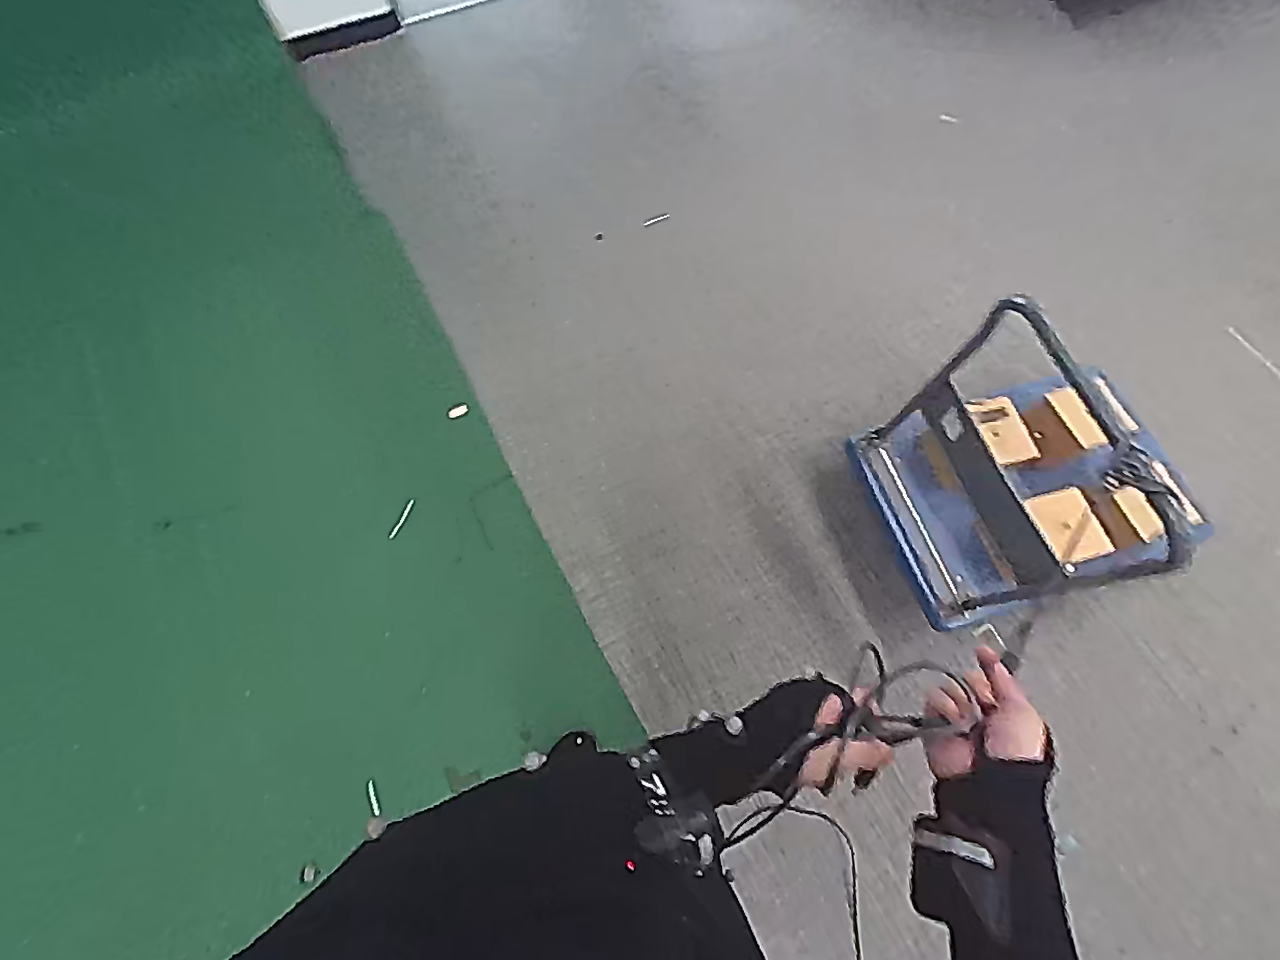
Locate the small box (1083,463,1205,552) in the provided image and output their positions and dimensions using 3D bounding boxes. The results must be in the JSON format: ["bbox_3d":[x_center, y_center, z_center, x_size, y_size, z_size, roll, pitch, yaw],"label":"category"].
[{"bbox_3d":[1.246,0.080,1.382,0.179,0.176,0.168,-17,70,-7],"label":"small box"}]

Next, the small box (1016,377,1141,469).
[{"bbox_3d":[1.171,-0.148,1.468,0.179,0.176,0.168,-19,72,-9],"label":"small box"}]

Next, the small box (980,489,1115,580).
[{"bbox_3d":[1.007,0.141,1.354,0.179,0.176,0.168,-14,70,-7],"label":"small box"}]
